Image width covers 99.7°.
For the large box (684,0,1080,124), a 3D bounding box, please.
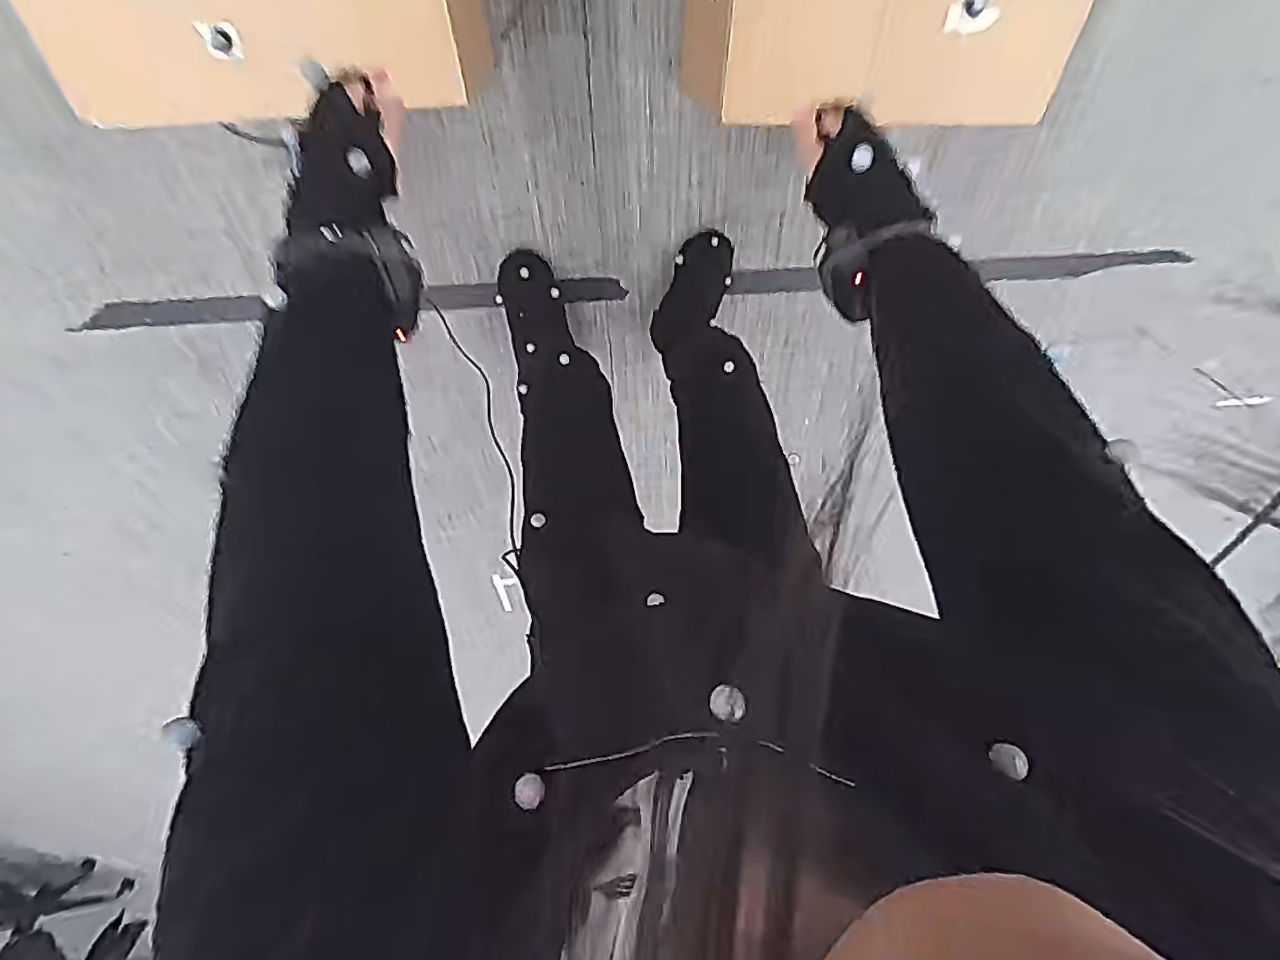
[{"bbox_3d":[0.282,-0.654,0.681,0.408,0.320,0.320,-3,131,-6],"label":"large box"}]
